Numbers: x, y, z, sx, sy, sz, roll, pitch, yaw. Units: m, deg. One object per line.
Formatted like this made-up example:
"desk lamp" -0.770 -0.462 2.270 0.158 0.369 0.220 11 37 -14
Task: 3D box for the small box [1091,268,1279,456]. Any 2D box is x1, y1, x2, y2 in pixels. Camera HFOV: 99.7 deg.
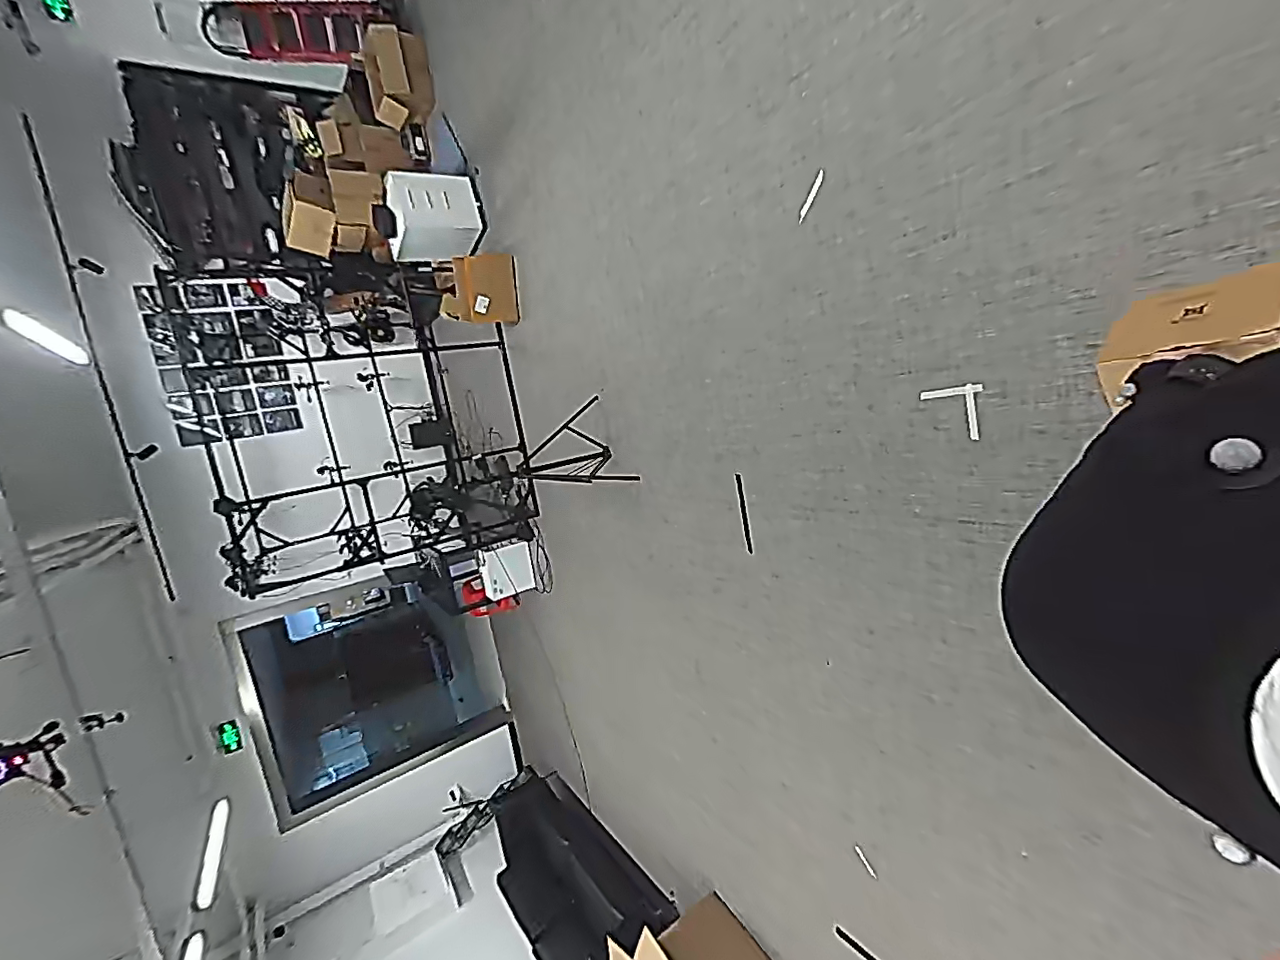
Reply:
"small box" 0.743 -0.141 0.709 0.176 0.179 0.168 56 154 -16
